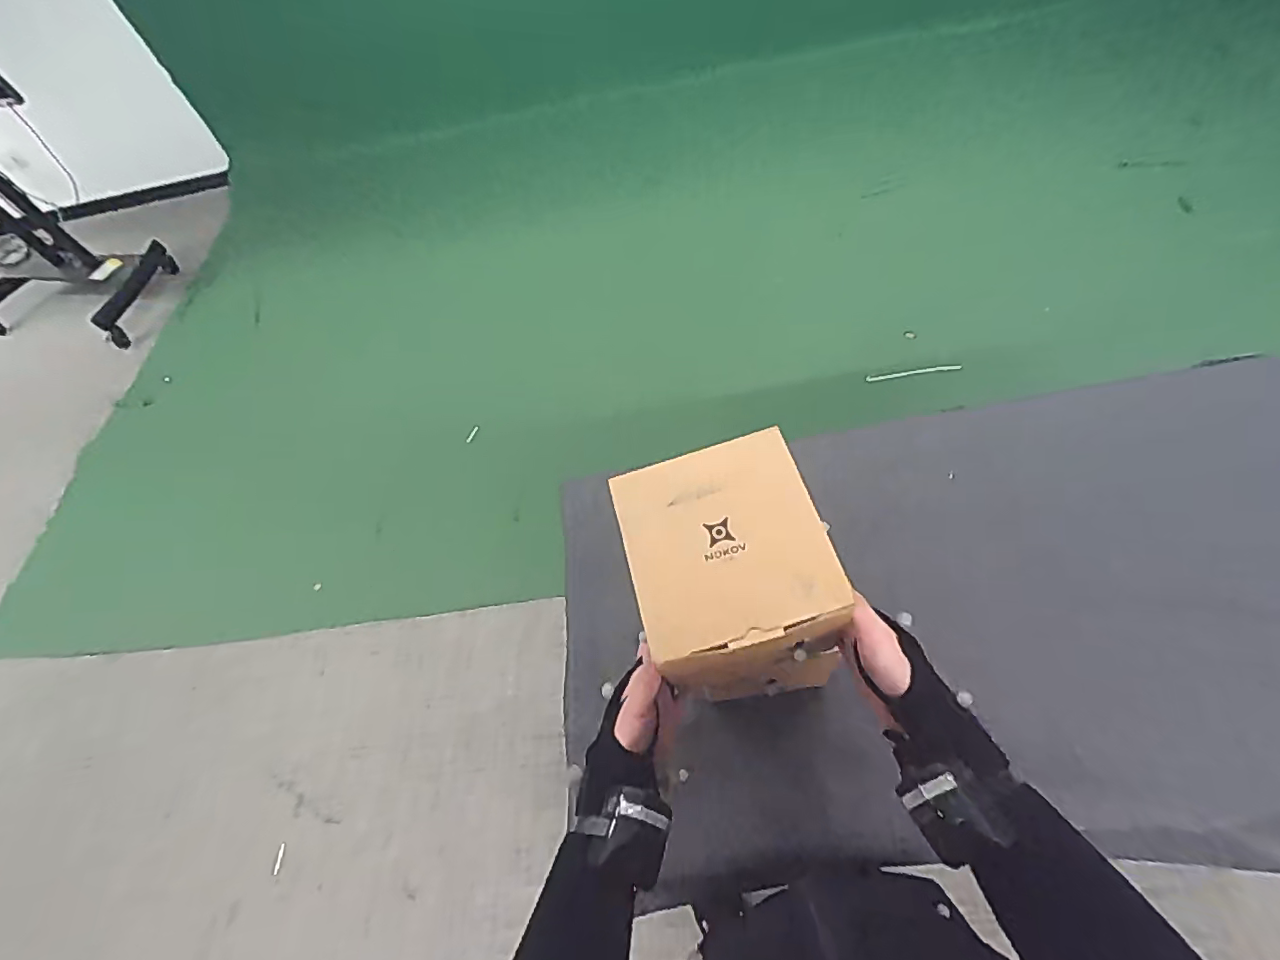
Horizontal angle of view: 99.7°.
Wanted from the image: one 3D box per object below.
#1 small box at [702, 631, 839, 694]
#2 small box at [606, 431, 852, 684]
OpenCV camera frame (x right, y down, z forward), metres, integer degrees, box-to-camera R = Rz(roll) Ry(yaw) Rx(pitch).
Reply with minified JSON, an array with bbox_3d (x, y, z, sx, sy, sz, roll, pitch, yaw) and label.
[{"bbox_3d":[0.151,0.182,0.731,0.168,0.176,0.179,-10,58,3],"label":"small box"},{"bbox_3d":[0.080,0.087,0.521,0.168,0.176,0.179,-17,61,2],"label":"small box"}]
